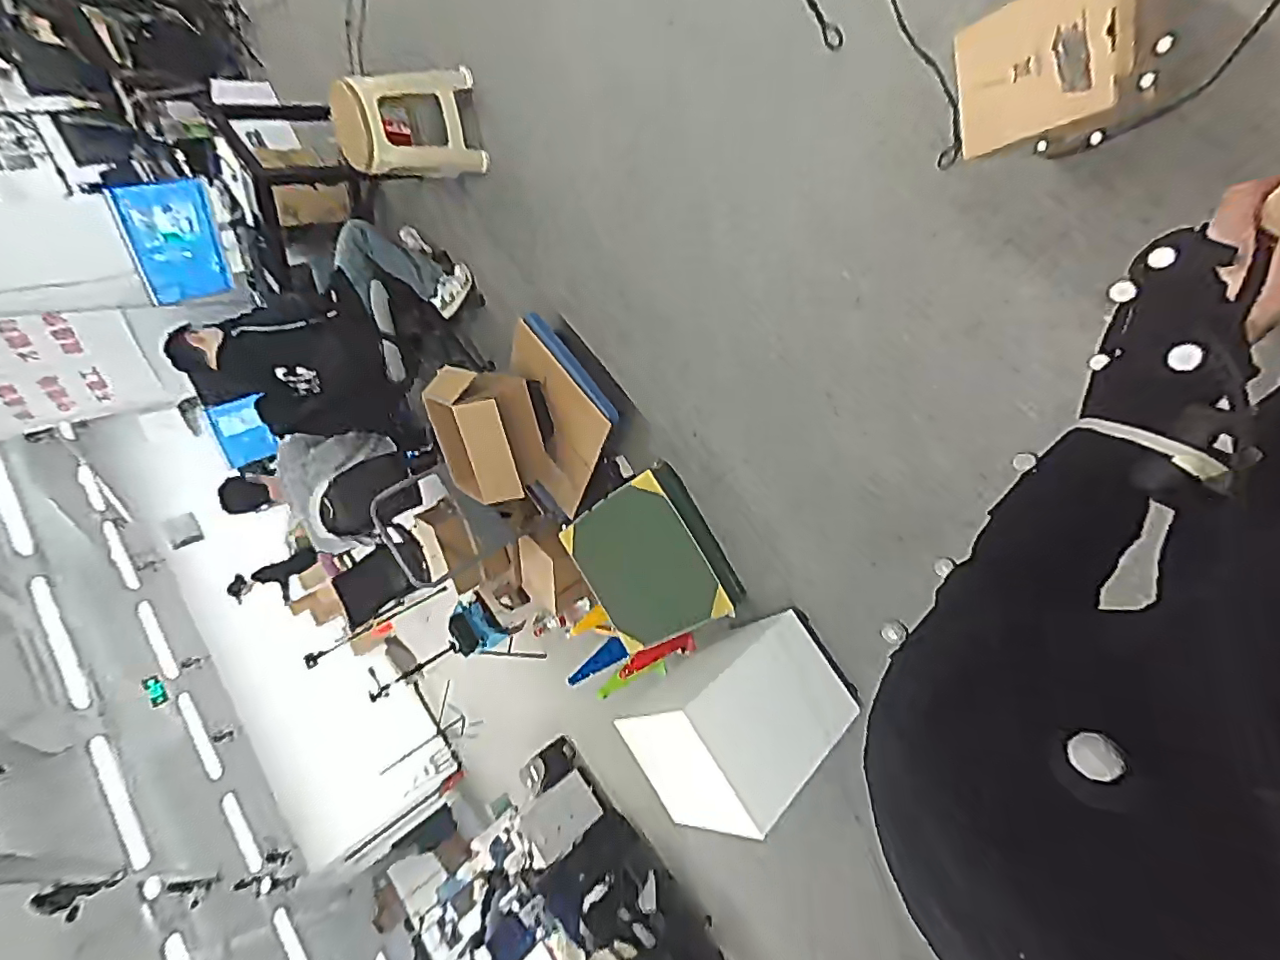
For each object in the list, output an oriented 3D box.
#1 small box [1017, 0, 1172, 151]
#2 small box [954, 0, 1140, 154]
[{"bbox_3d":[0.697,-0.646,0.842,0.168,0.176,0.179,-2,110,53],"label":"small box"},{"bbox_3d":[0.572,-0.581,0.756,0.179,0.176,0.168,6,116,51],"label":"small box"}]
